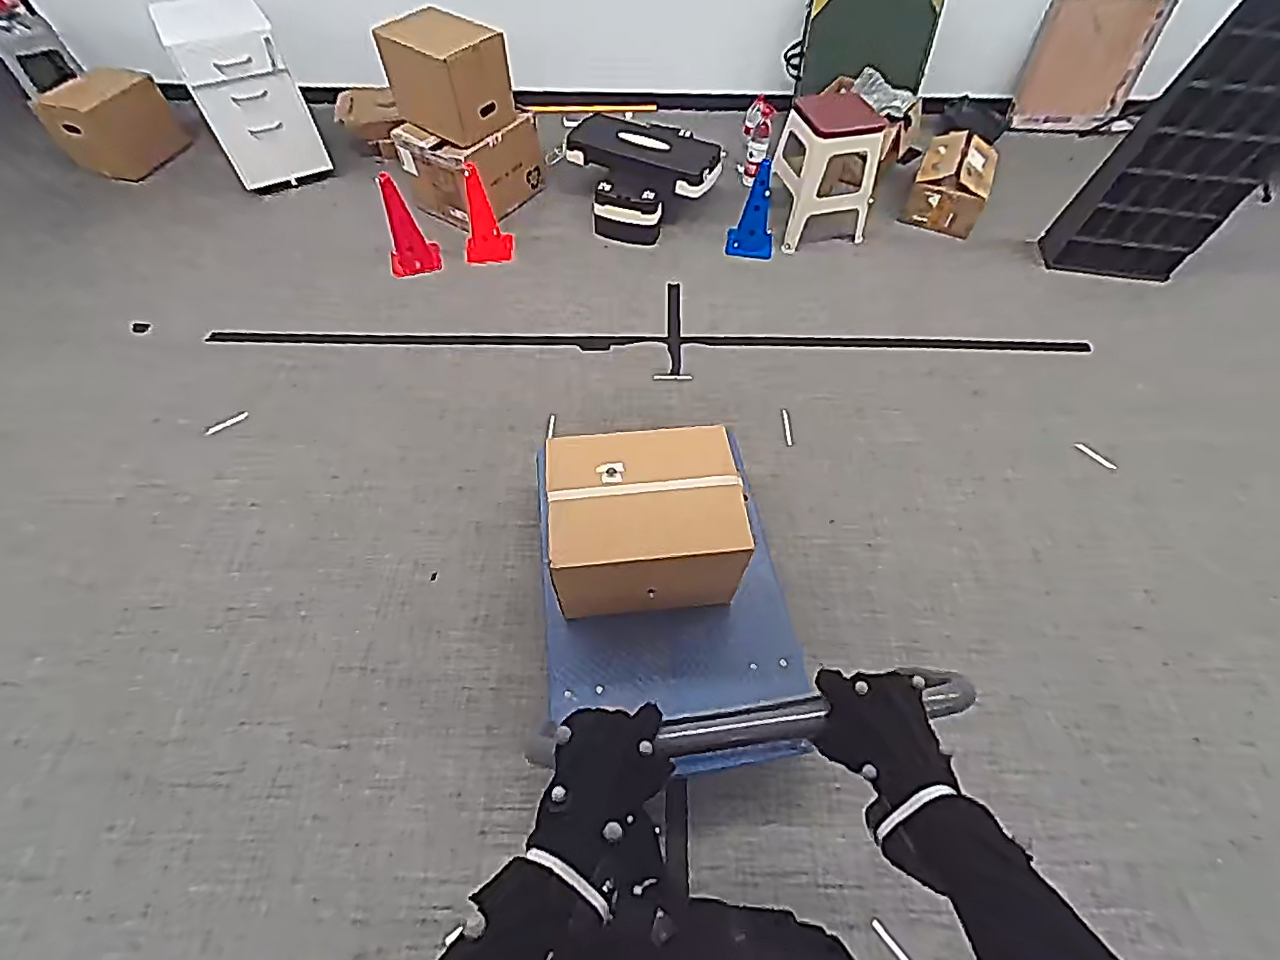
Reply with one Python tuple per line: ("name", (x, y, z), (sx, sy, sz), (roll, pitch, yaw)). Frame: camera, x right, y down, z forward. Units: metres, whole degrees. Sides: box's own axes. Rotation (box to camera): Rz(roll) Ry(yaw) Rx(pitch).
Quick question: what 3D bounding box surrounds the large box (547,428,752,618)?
("large box", (0.009, 0.109, 1.256), (0.408, 0.320, 0.320), (-5, 58, -3))
